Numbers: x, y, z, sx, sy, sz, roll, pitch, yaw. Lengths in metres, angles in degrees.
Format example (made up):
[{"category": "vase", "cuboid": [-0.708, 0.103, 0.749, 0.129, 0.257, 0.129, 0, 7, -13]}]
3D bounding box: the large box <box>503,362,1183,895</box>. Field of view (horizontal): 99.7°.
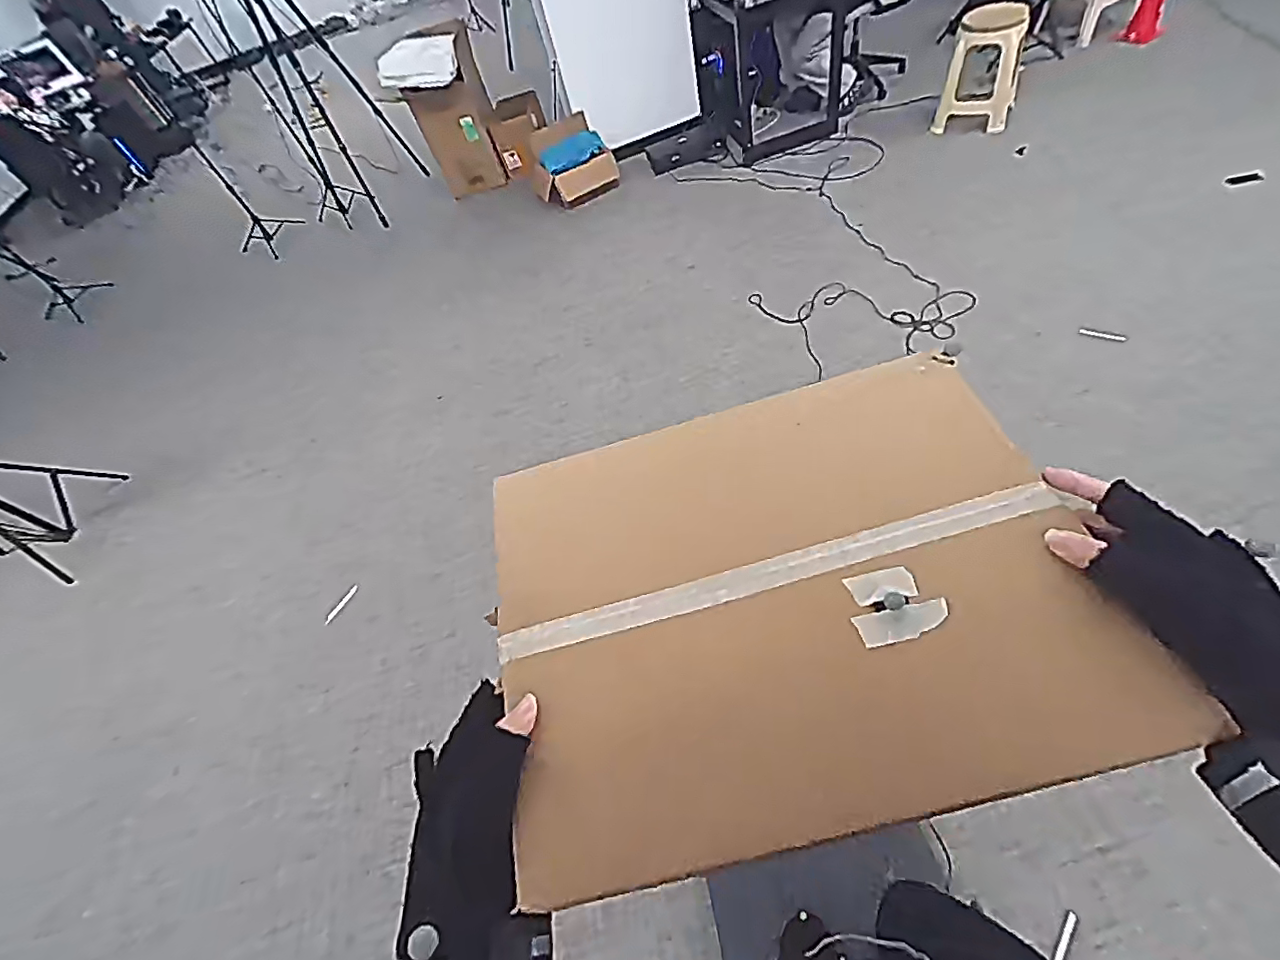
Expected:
[{"category": "large box", "cuboid": [0.123, 0.153, 0.524, 0.408, 0.320, 0.320, -17, 56, 3]}]
